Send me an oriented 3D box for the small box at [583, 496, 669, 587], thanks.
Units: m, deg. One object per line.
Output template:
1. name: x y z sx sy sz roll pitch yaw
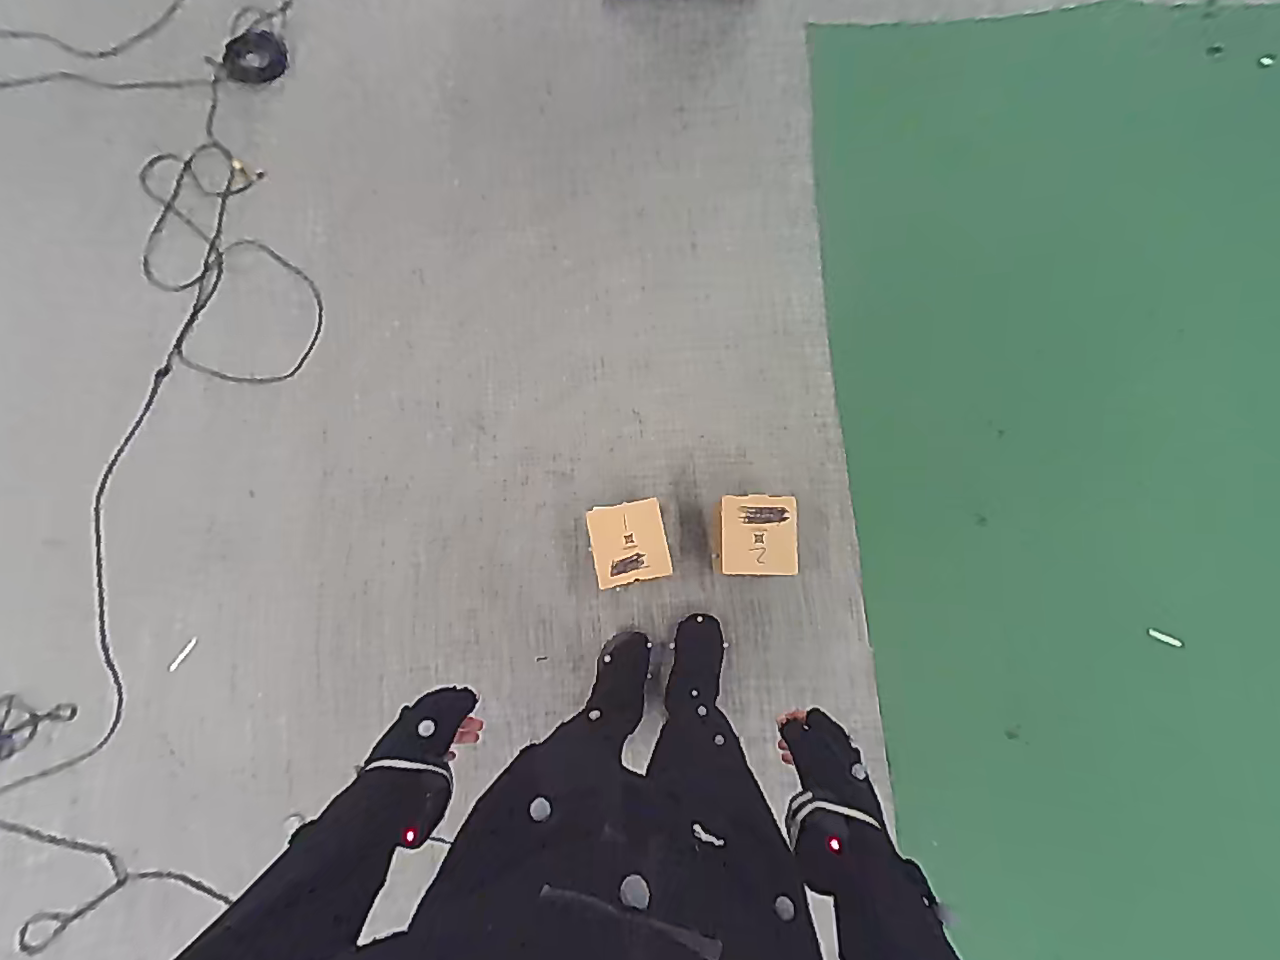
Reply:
1. small box: -0.029 0.146 1.260 0.168 0.176 0.179 -12 80 -1
